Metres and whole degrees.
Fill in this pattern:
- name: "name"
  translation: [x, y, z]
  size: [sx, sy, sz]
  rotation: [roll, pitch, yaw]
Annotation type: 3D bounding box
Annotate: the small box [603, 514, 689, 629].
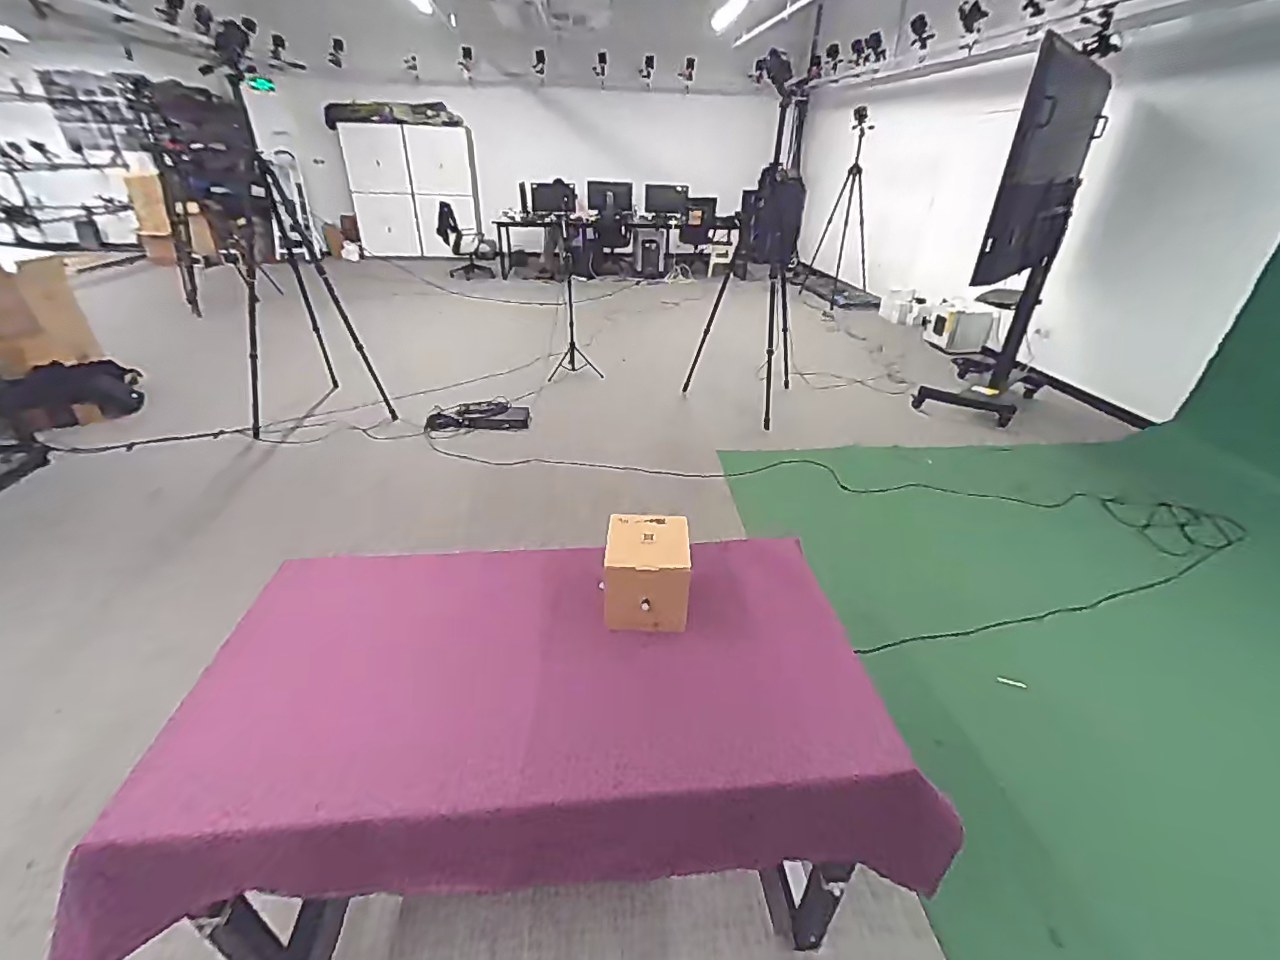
- name: "small box"
  translation: [0.015, 0.190, 1.120]
  size: [0.168, 0.176, 0.179]
  rotation: [2, 32, 1]
